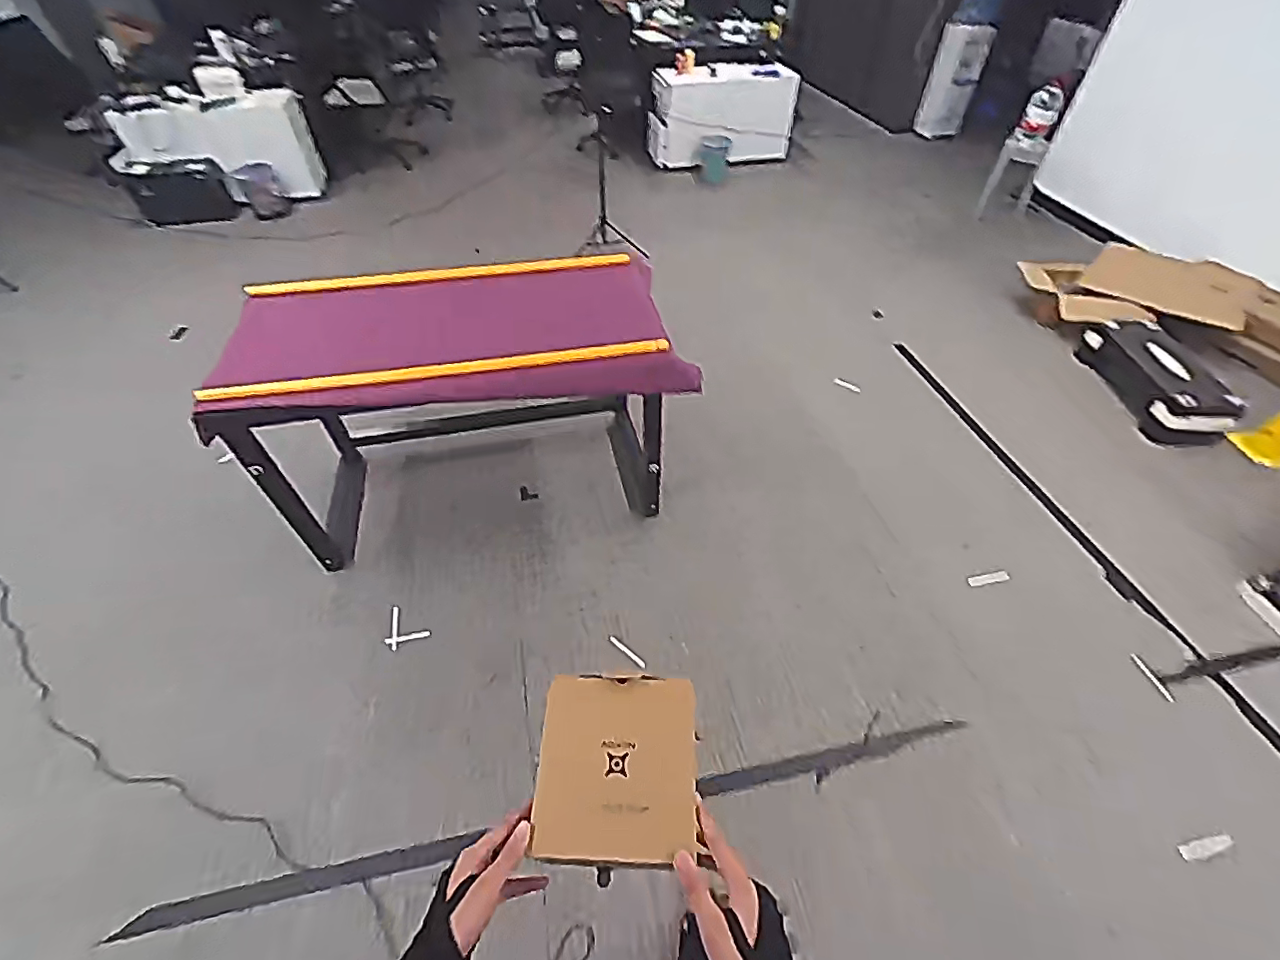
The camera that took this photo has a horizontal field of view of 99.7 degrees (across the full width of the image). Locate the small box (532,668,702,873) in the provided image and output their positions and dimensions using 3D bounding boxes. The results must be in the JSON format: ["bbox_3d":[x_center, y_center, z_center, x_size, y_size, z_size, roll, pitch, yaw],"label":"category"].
[{"bbox_3d":[-0.016,0.337,0.626,0.168,0.176,0.179,1,51,4],"label":"small box"}]
